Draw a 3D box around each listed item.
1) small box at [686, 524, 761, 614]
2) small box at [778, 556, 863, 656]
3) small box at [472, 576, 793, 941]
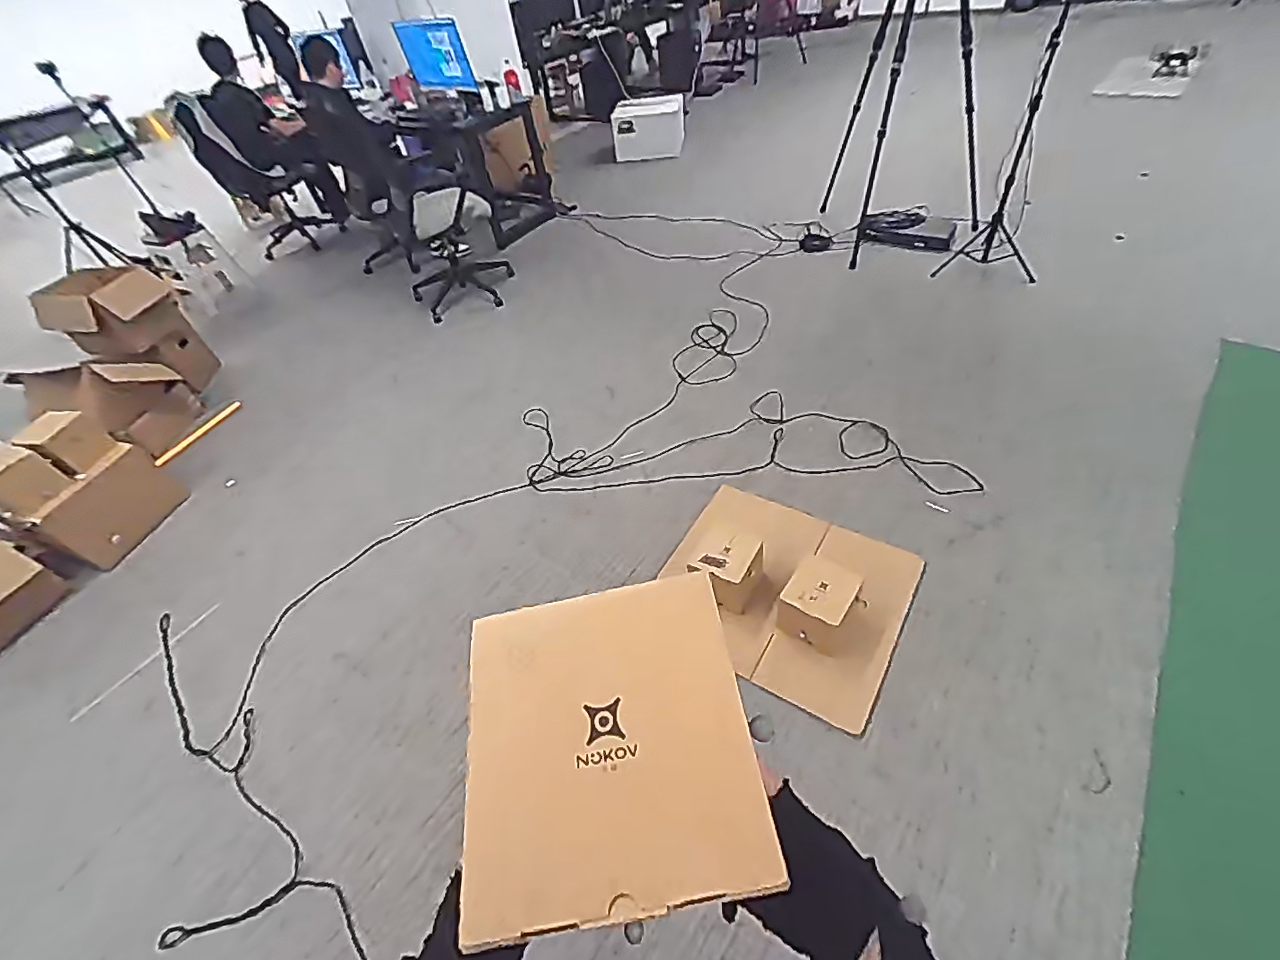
[{"bbox_3d":[0.255,0.269,1.623,0.168,0.176,0.179,20,53,27],"label":"small box"},{"bbox_3d":[0.494,0.351,1.503,0.168,0.176,0.179,25,56,31],"label":"small box"},{"bbox_3d":[-0.005,0.195,0.381,0.168,0.176,0.179,-12,53,1],"label":"small box"}]
